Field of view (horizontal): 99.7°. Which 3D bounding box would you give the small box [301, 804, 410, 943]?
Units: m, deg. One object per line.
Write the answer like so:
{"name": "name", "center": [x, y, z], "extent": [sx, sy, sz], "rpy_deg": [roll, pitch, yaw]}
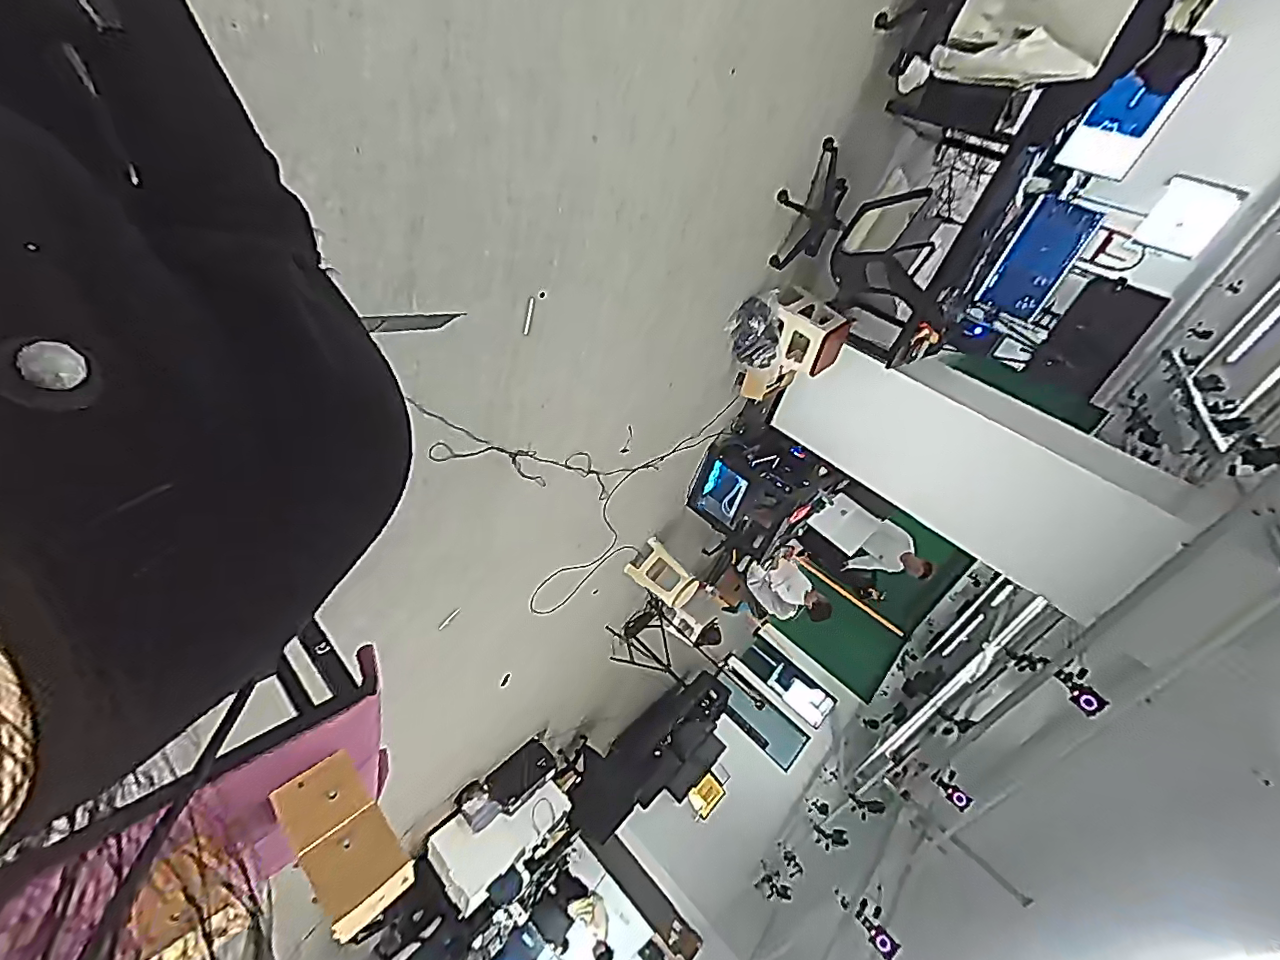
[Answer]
{"name": "small box", "center": [-0.662, 0.909, 1.258], "extent": [0.179, 0.176, 0.168], "rpy_deg": [-26, 145, -41]}

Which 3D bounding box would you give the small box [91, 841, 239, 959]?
{"name": "small box", "center": [-0.971, 0.898, 1.113], "extent": [0.179, 0.176, 0.168], "rpy_deg": [-24, 143, -43]}

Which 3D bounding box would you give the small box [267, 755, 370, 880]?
{"name": "small box", "center": [-0.779, 0.813, 1.320], "extent": [0.168, 0.176, 0.179], "rpy_deg": [-26, 145, -43]}
